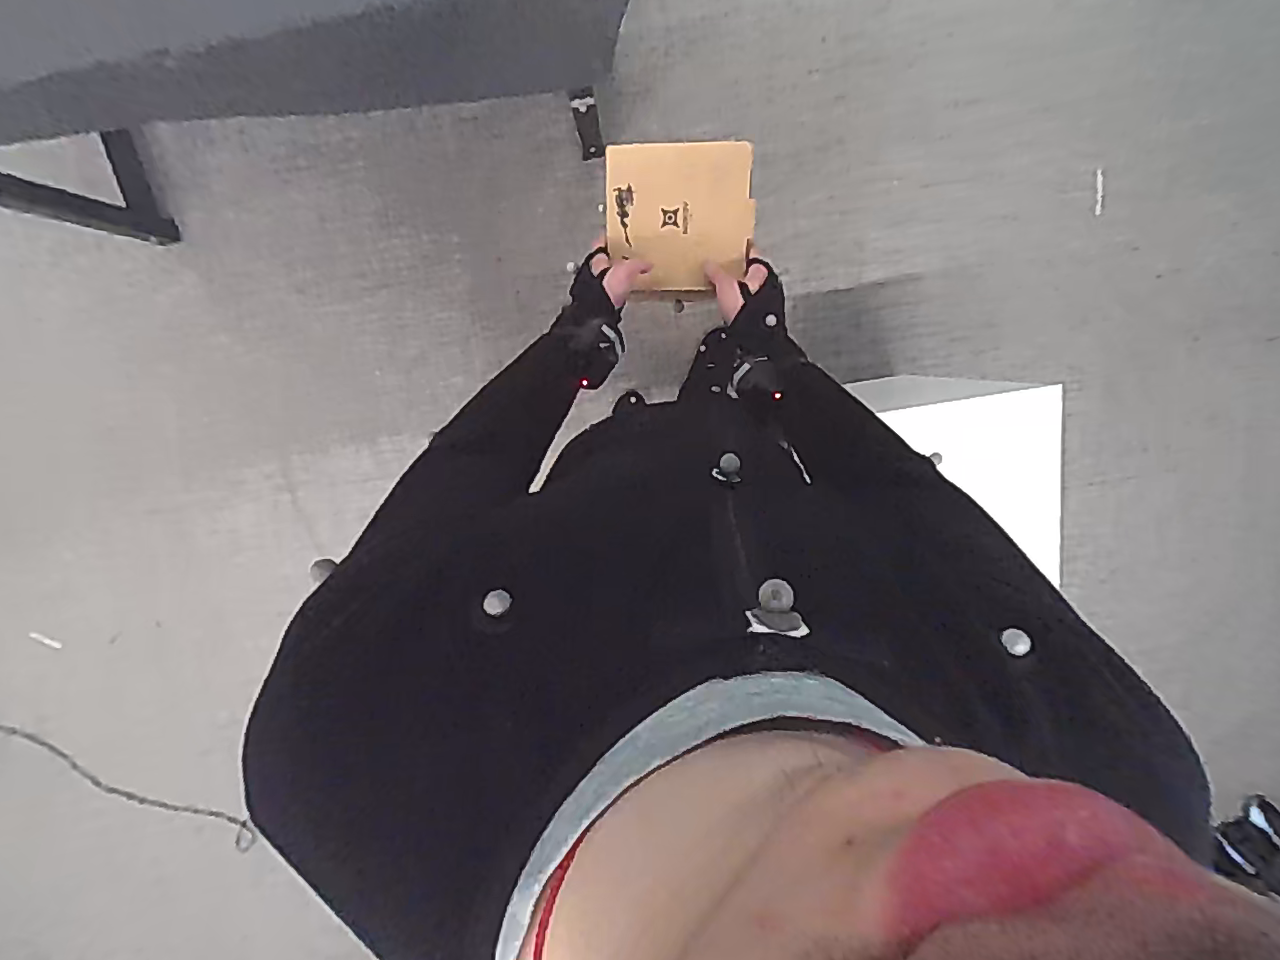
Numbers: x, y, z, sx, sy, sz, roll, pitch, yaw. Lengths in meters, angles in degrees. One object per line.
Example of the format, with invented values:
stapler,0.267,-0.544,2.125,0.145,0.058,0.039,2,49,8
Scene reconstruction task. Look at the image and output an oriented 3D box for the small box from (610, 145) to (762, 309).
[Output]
small box,0.053,-0.320,0.711,0.179,0.176,0.168,0,102,2
